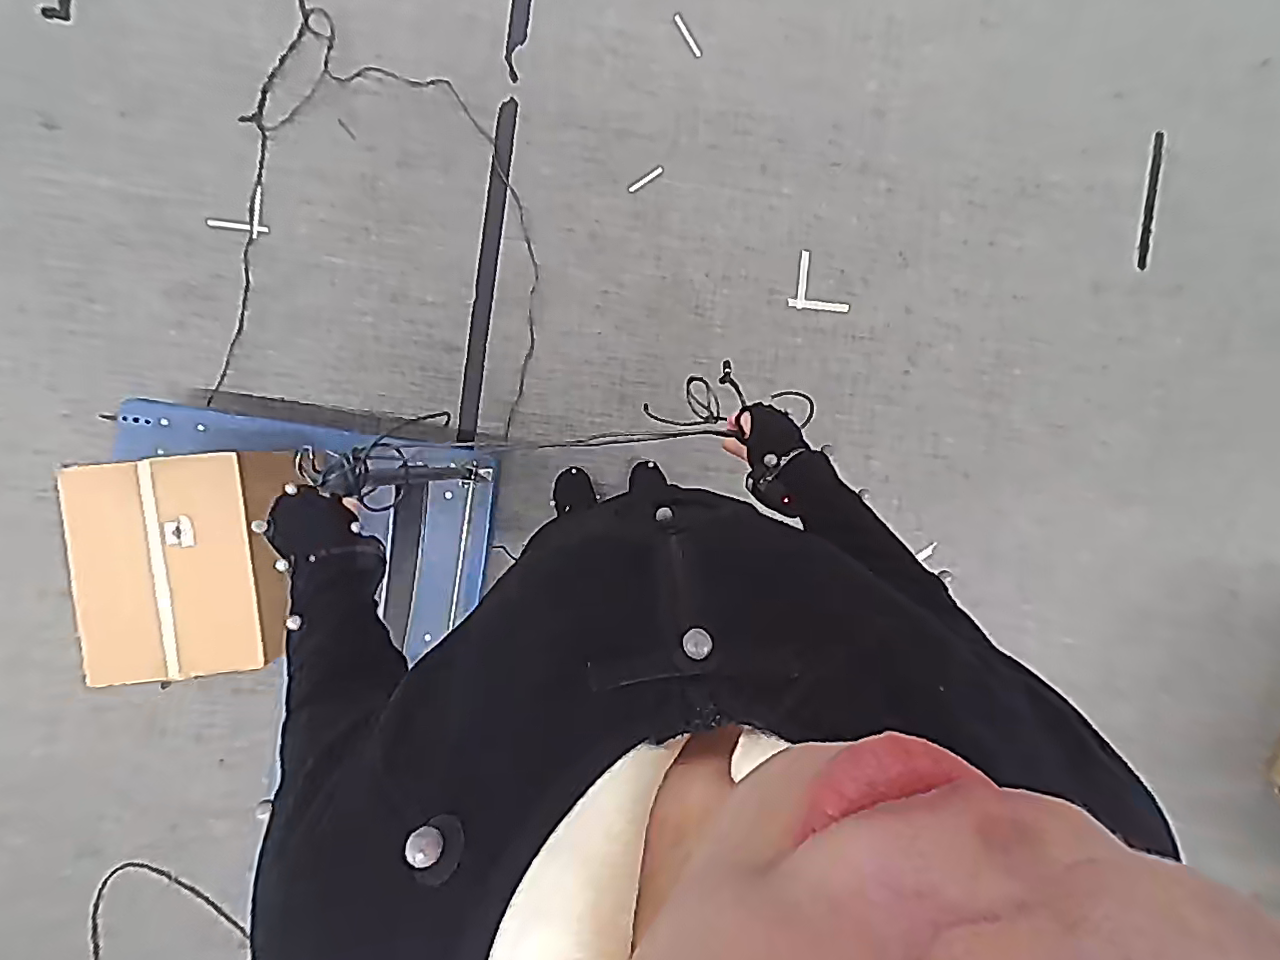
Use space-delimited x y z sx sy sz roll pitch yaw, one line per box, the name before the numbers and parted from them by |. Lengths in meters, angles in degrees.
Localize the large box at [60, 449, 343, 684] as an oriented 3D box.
large box | -0.868 0.154 1.126 0.320 0.320 0.408 -6 92 -4
